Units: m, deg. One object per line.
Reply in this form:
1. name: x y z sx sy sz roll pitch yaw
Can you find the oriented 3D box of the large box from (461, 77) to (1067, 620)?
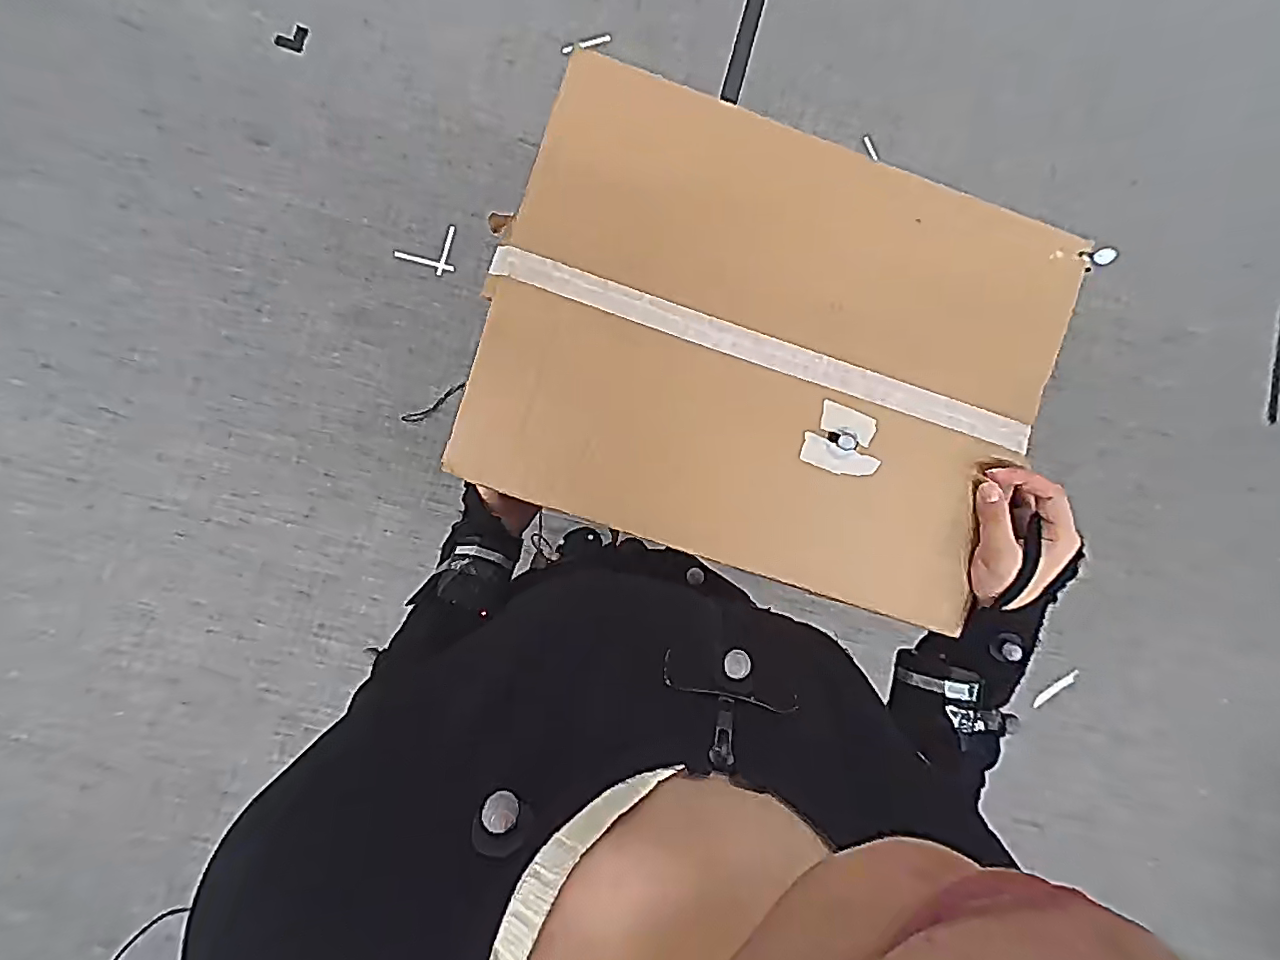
1. large box: 0.087 -0.095 0.551 0.408 0.320 0.320 17 92 -5
